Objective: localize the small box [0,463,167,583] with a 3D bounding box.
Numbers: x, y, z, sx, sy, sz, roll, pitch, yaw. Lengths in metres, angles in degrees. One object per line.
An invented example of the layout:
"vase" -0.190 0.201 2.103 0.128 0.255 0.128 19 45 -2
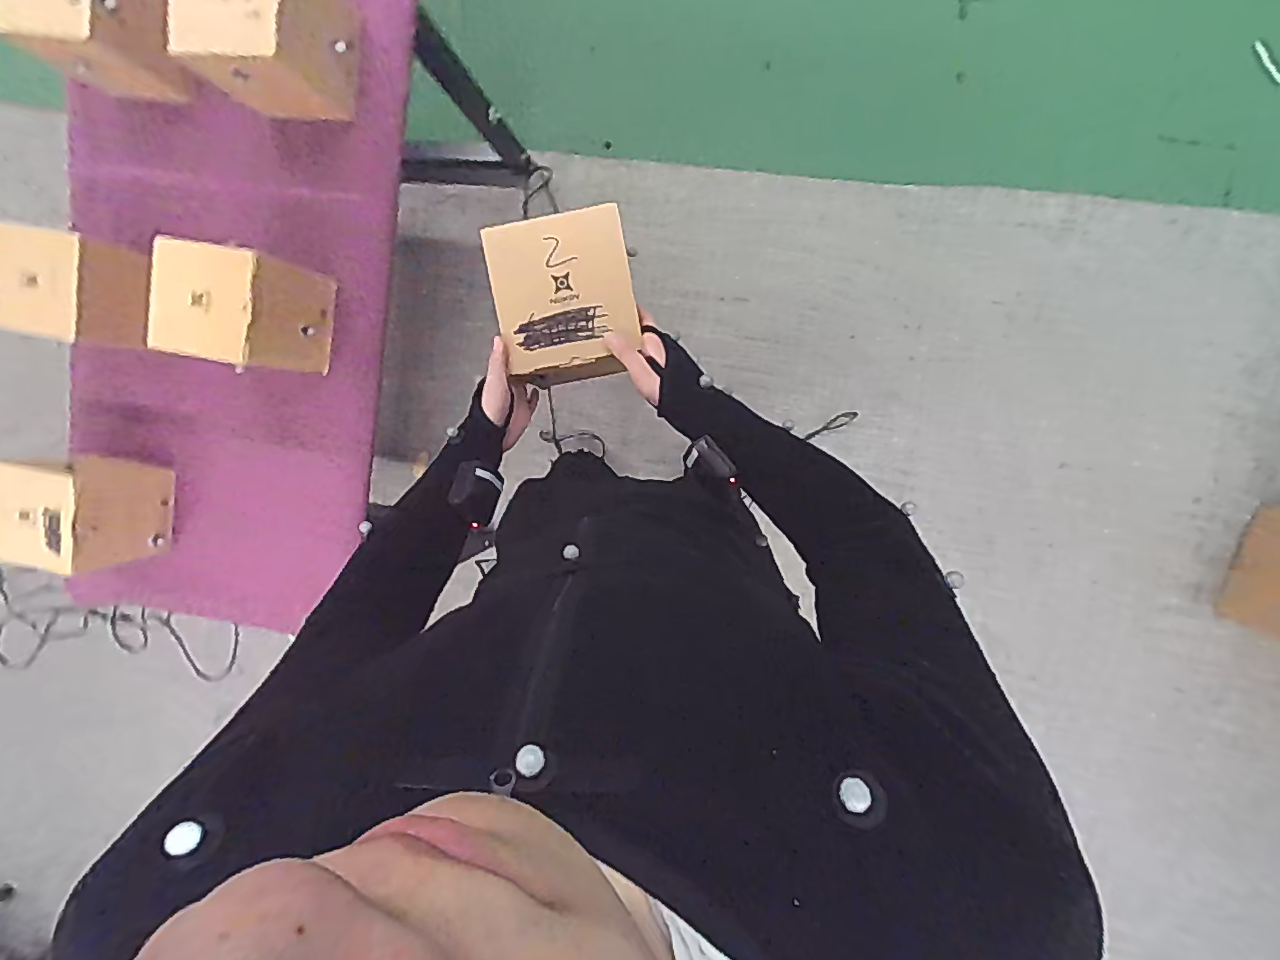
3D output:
"small box" -0.990 0.065 0.956 0.179 0.176 0.168 10 97 6

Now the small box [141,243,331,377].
"small box" -0.644 -0.264 0.876 0.179 0.176 0.168 10 97 7

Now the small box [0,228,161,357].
"small box" -0.947 -0.307 0.911 0.179 0.176 0.168 11 99 5

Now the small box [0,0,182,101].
"small box" -0.872 -0.732 0.850 0.179 0.176 0.168 10 99 6

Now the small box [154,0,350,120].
"small box" -0.575 -0.673 0.815 0.179 0.176 0.168 8 99 6
